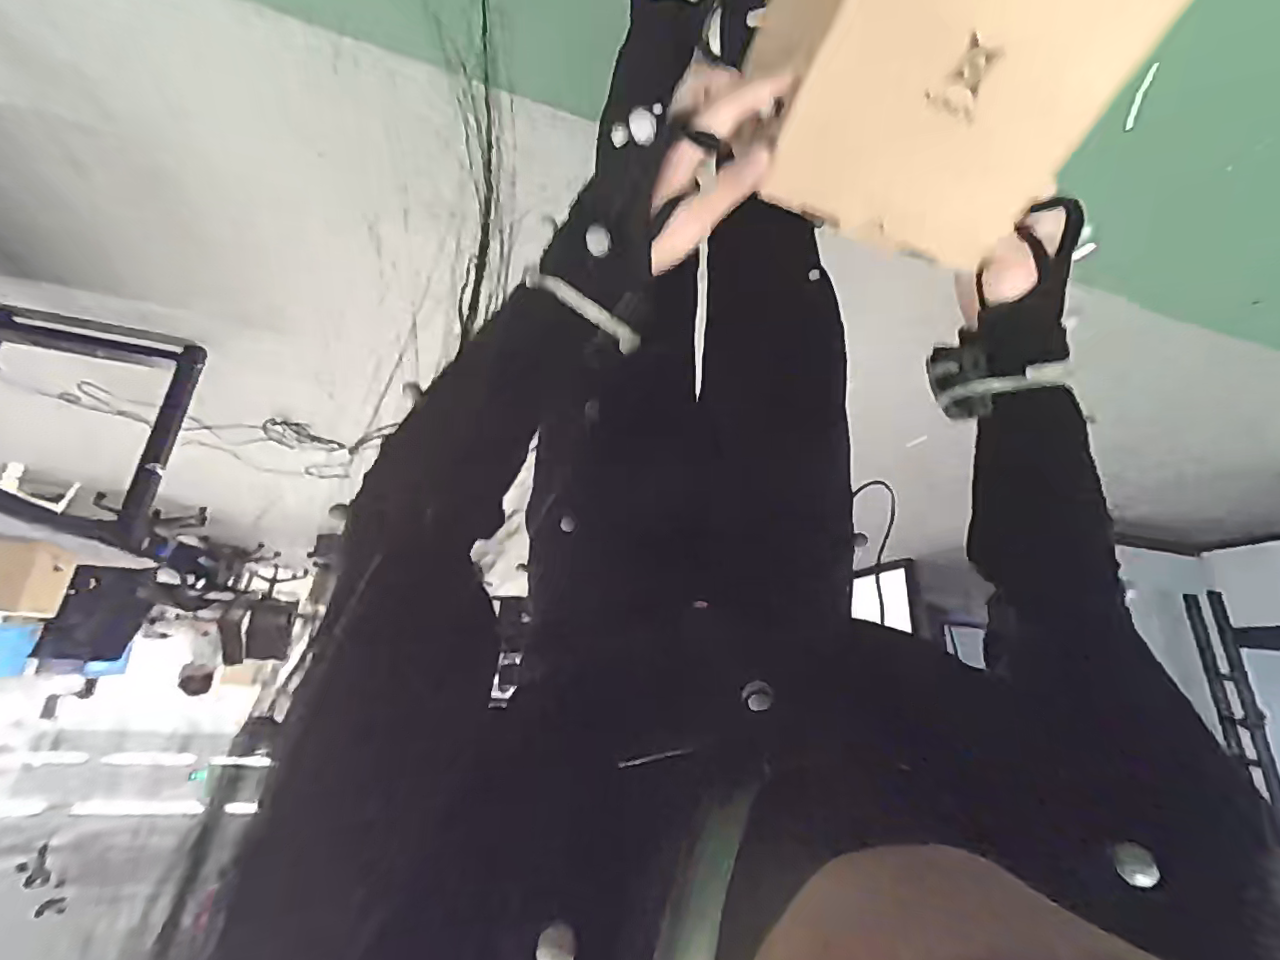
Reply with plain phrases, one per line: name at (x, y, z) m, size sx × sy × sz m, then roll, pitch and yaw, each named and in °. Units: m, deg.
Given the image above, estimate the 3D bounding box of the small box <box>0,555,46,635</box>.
small box at (-1.588, 0.266, 1.275) m, size 0.179 × 0.176 × 0.168 m, roll 11°, pitch 157°, yaw -20°
